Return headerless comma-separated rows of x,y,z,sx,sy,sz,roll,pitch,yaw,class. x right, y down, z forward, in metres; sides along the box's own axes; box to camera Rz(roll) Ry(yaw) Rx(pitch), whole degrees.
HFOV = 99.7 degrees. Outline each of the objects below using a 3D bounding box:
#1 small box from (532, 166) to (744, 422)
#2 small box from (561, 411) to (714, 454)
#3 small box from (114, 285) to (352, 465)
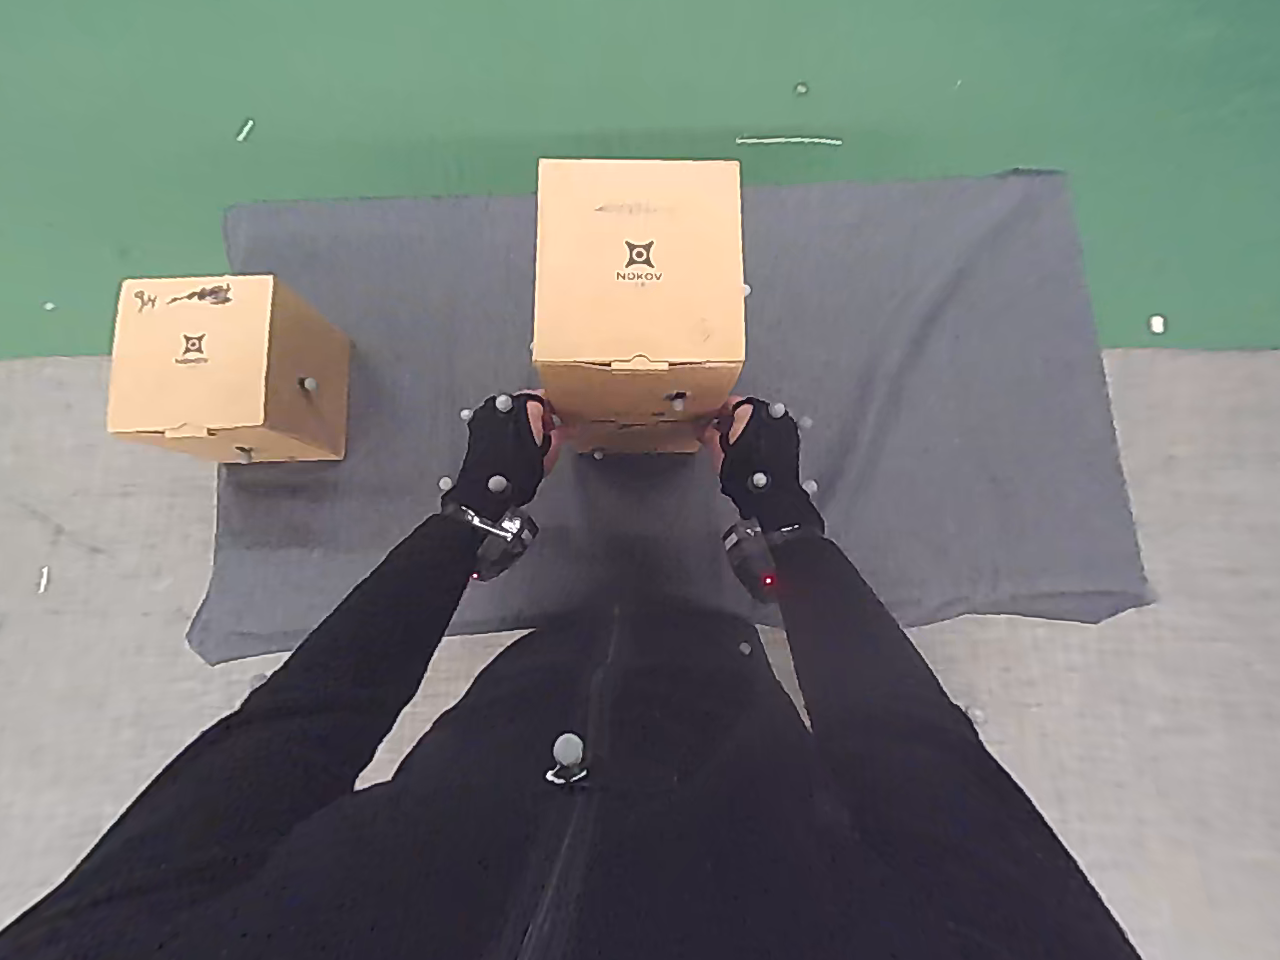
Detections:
-0.002,-0.155,0.502,0.168,0.176,0.179,-1,80,-2,small box
-0.002,-0.129,0.662,0.168,0.176,0.179,-1,80,0,small box
-0.474,-0.114,0.658,0.168,0.176,0.179,-2,82,-2,small box
